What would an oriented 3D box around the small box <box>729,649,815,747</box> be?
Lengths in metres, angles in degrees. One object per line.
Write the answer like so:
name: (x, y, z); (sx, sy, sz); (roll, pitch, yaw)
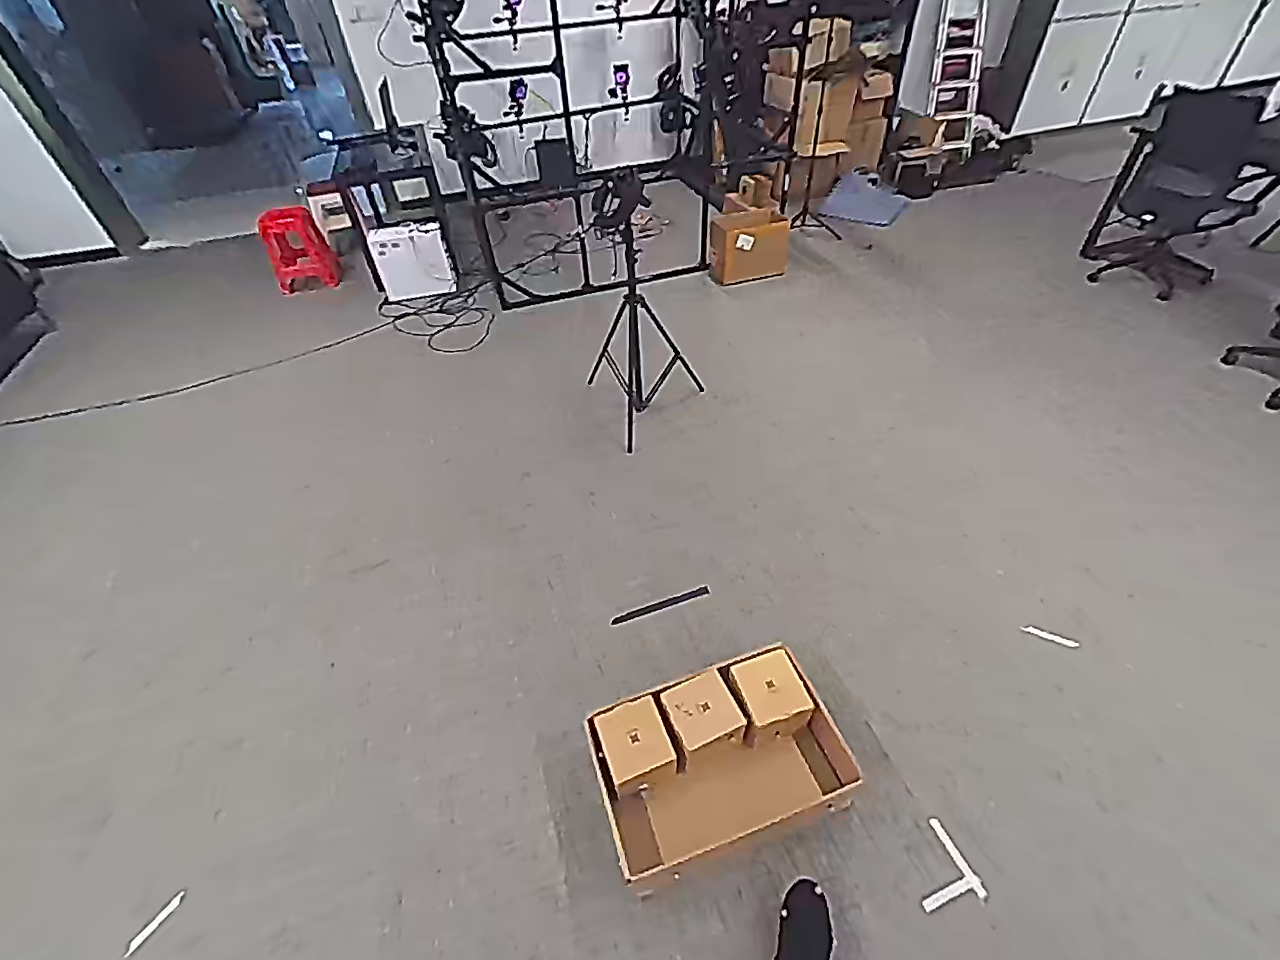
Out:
small box: (0.359, 0.610, 1.511); (0.168, 0.176, 0.179); (-17, 48, -10)
